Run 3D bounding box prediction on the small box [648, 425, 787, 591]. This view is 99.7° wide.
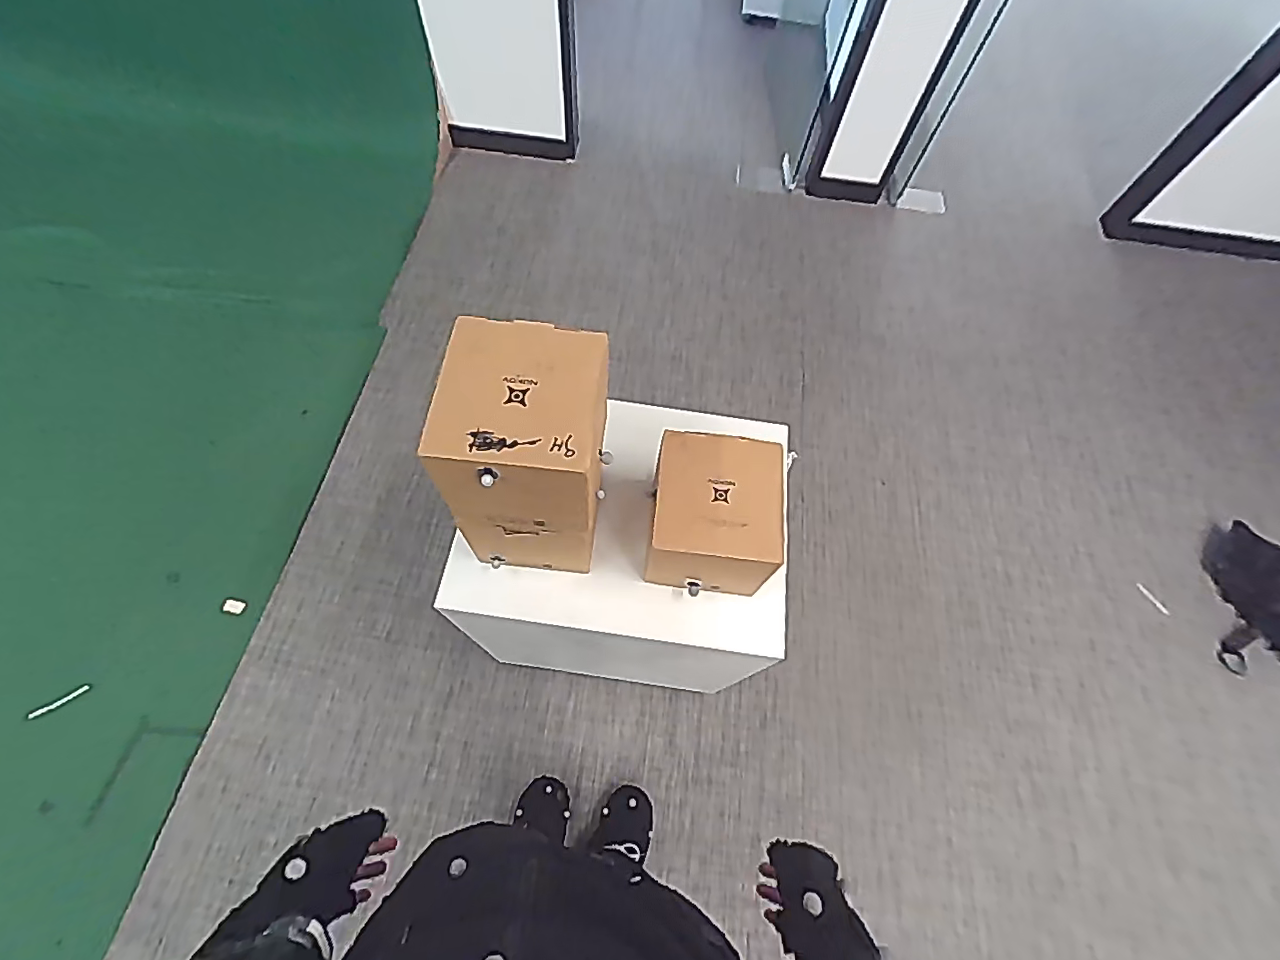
[{"bbox_3d":[0.101,0.045,0.759,0.168,0.176,0.179,5,65,1],"label":"small box"}]

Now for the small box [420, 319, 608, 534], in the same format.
[{"bbox_3d":[-0.130,-0.055,0.627,0.168,0.176,0.179,6,63,-1],"label":"small box"}]

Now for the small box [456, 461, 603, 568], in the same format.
[{"bbox_3d":[-0.144,0.017,0.772,0.168,0.176,0.179,6,63,-1],"label":"small box"}]
